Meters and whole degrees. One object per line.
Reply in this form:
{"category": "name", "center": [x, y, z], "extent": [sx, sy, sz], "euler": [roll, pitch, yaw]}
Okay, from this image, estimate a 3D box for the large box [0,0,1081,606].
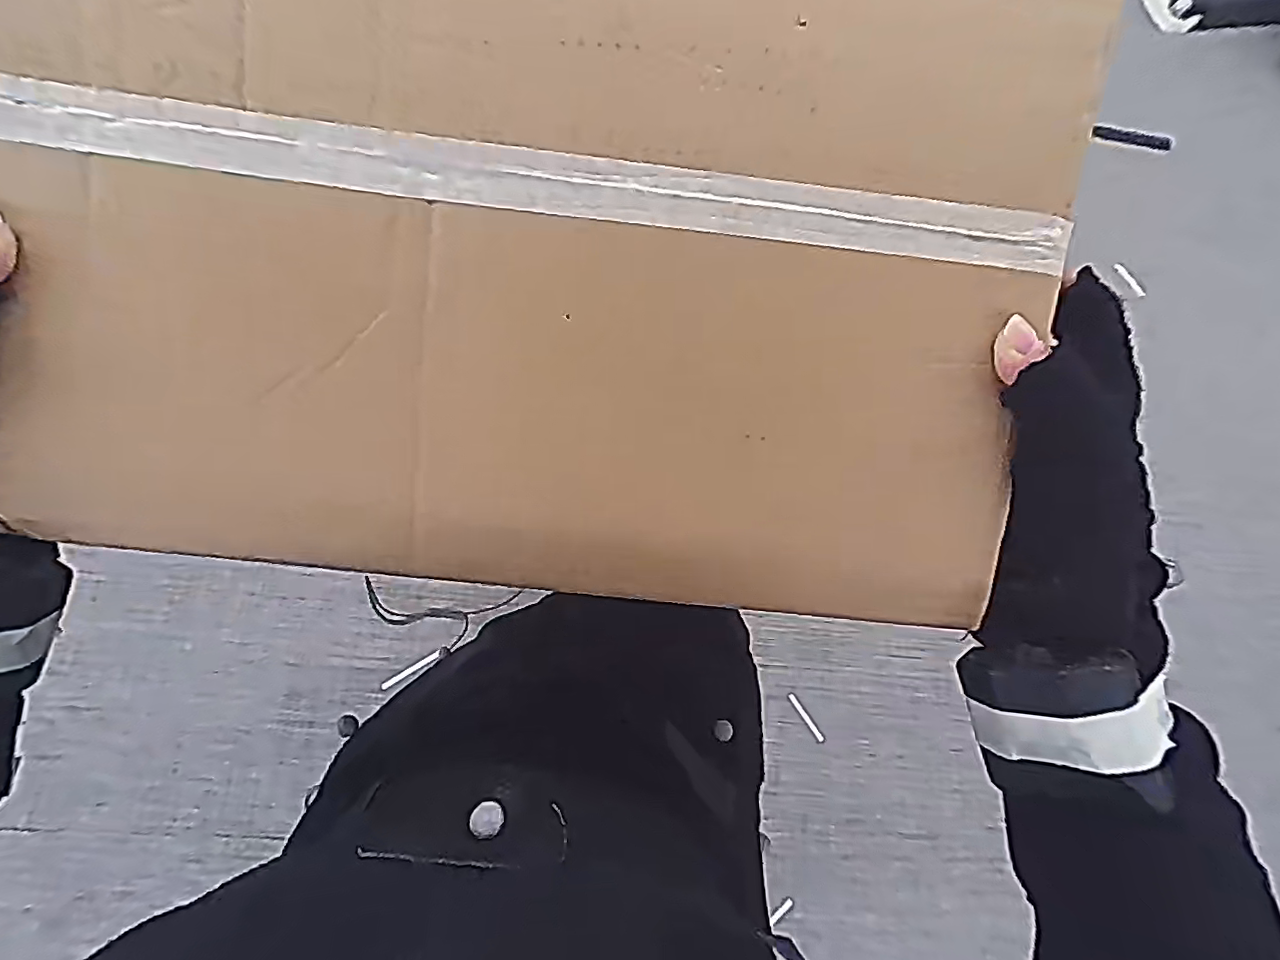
{"category": "large box", "center": [-0.043, -0.136, 0.361], "extent": [0.408, 0.320, 0.320], "euler": [7, 99, -3]}
